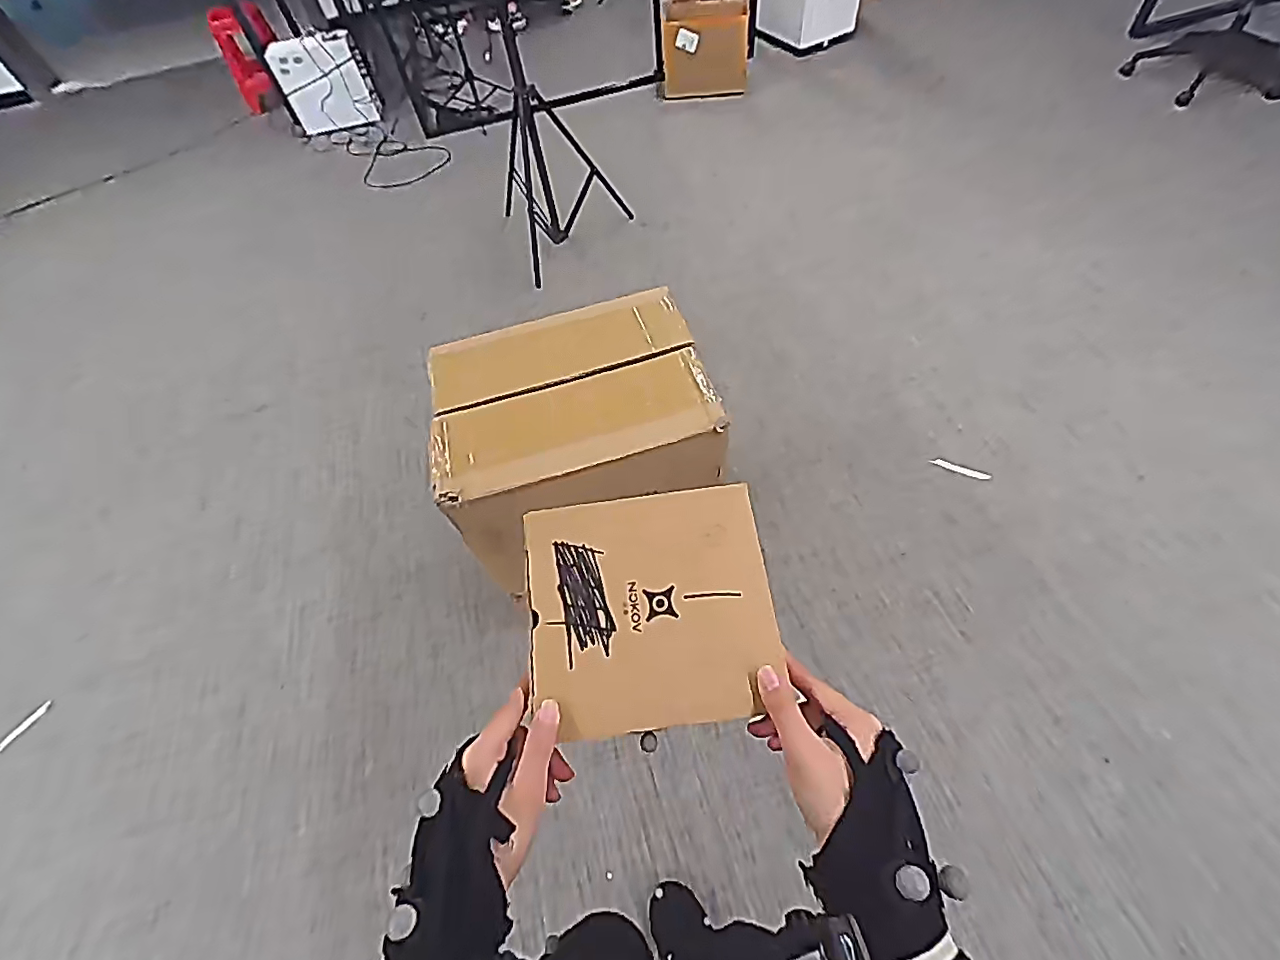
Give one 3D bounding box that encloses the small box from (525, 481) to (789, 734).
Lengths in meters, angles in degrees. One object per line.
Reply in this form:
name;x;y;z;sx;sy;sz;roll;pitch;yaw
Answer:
small box;0.010;0.118;0.460;0.179;0.176;0.168;-8;66;0
